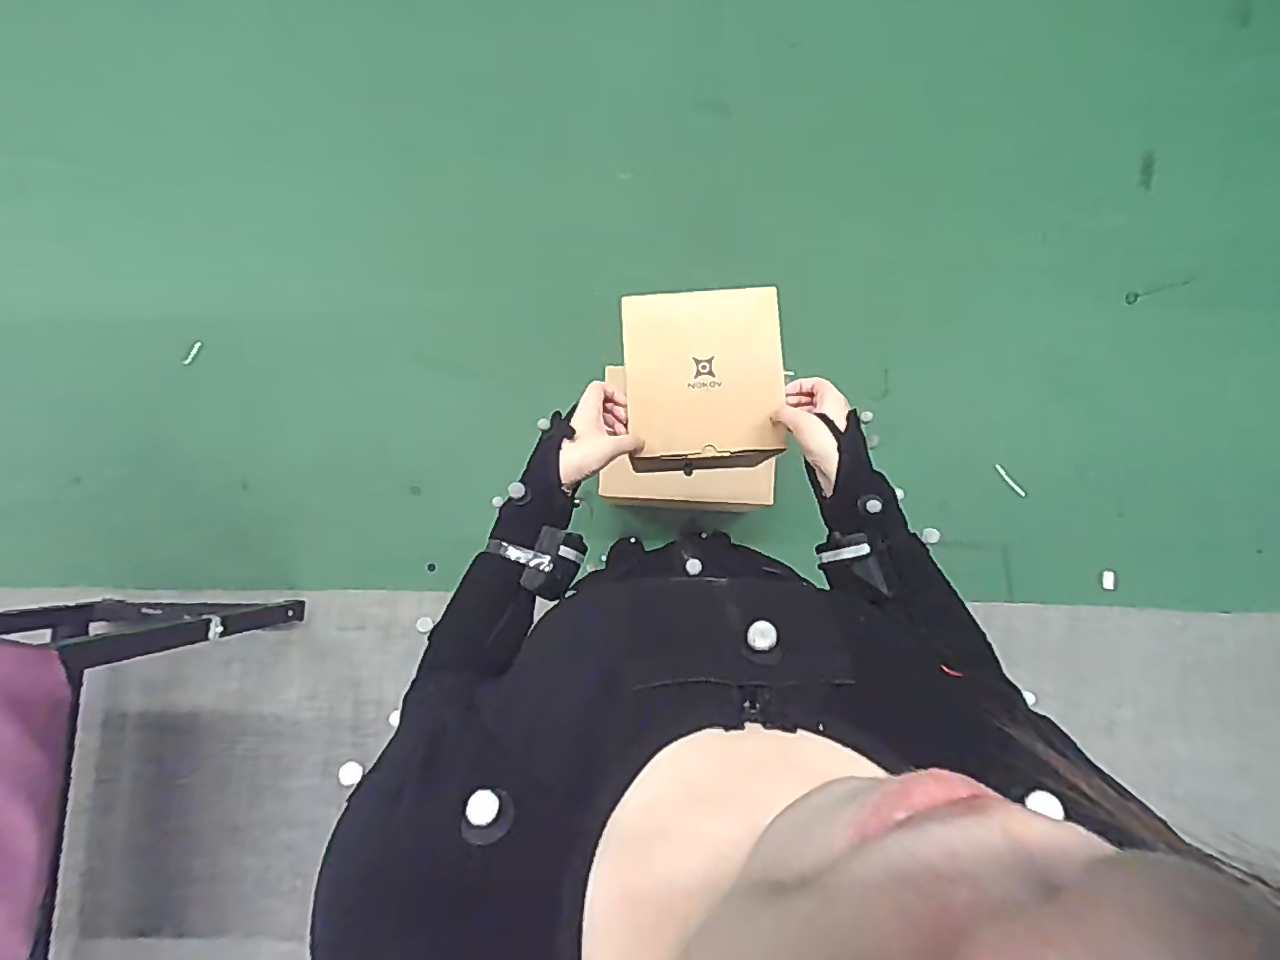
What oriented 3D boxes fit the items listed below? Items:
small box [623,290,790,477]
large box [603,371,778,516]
[{"bbox_3d":[0.066,-0.100,0.631,0.168,0.176,0.179,-4,86,0],"label":"small box"},{"bbox_3d":[0.118,-0.075,1.387,0.408,0.320,0.320,3,84,1],"label":"large box"}]
